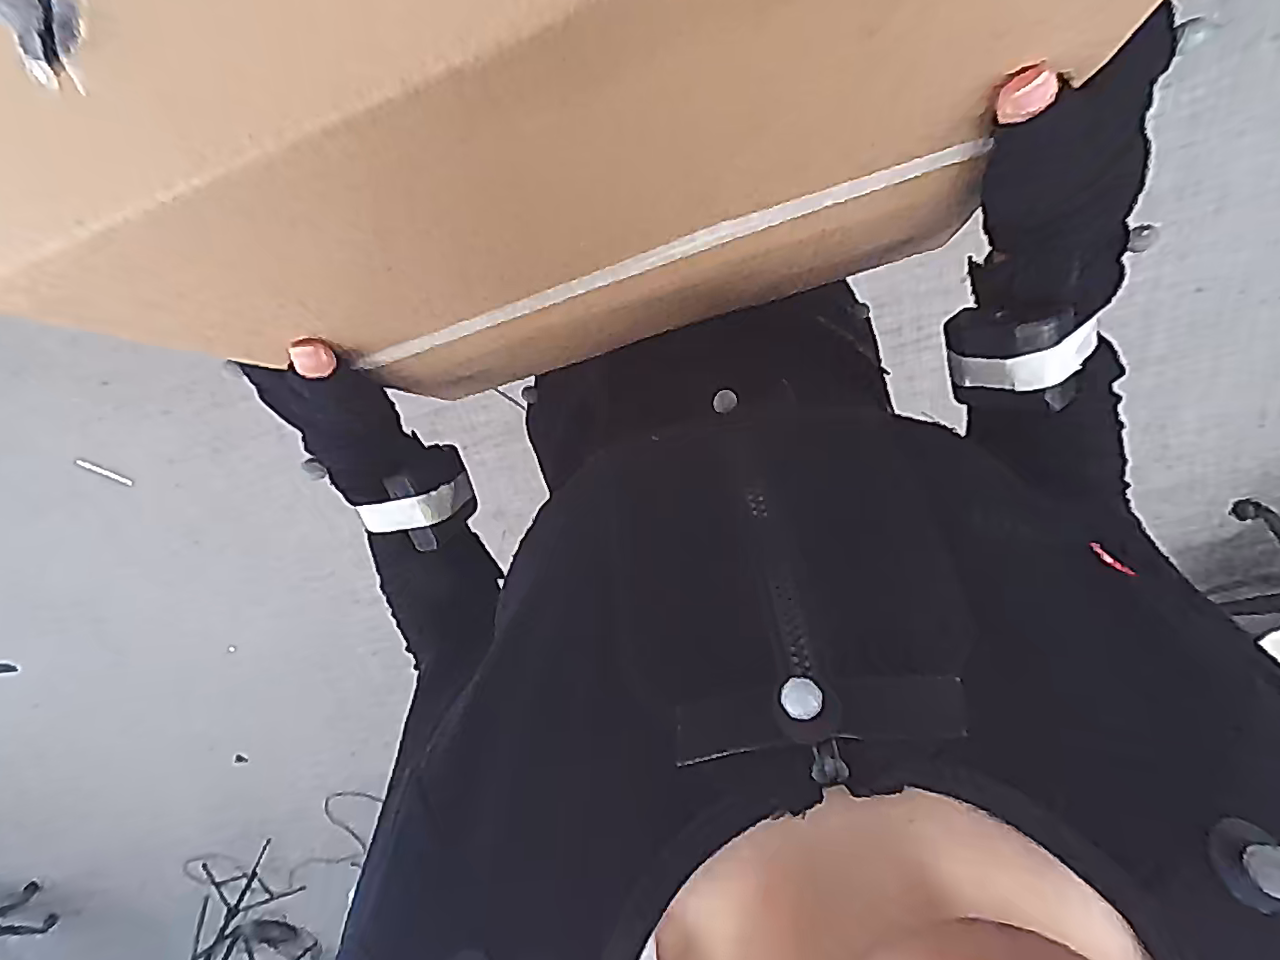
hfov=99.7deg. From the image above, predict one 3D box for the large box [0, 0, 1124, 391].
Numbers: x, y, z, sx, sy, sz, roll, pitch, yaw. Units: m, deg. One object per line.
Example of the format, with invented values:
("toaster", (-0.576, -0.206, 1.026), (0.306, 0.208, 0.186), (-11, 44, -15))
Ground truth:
("large box", (-0.044, -0.270, 0.294), (0.408, 0.320, 0.320), (-15, 89, 12))
